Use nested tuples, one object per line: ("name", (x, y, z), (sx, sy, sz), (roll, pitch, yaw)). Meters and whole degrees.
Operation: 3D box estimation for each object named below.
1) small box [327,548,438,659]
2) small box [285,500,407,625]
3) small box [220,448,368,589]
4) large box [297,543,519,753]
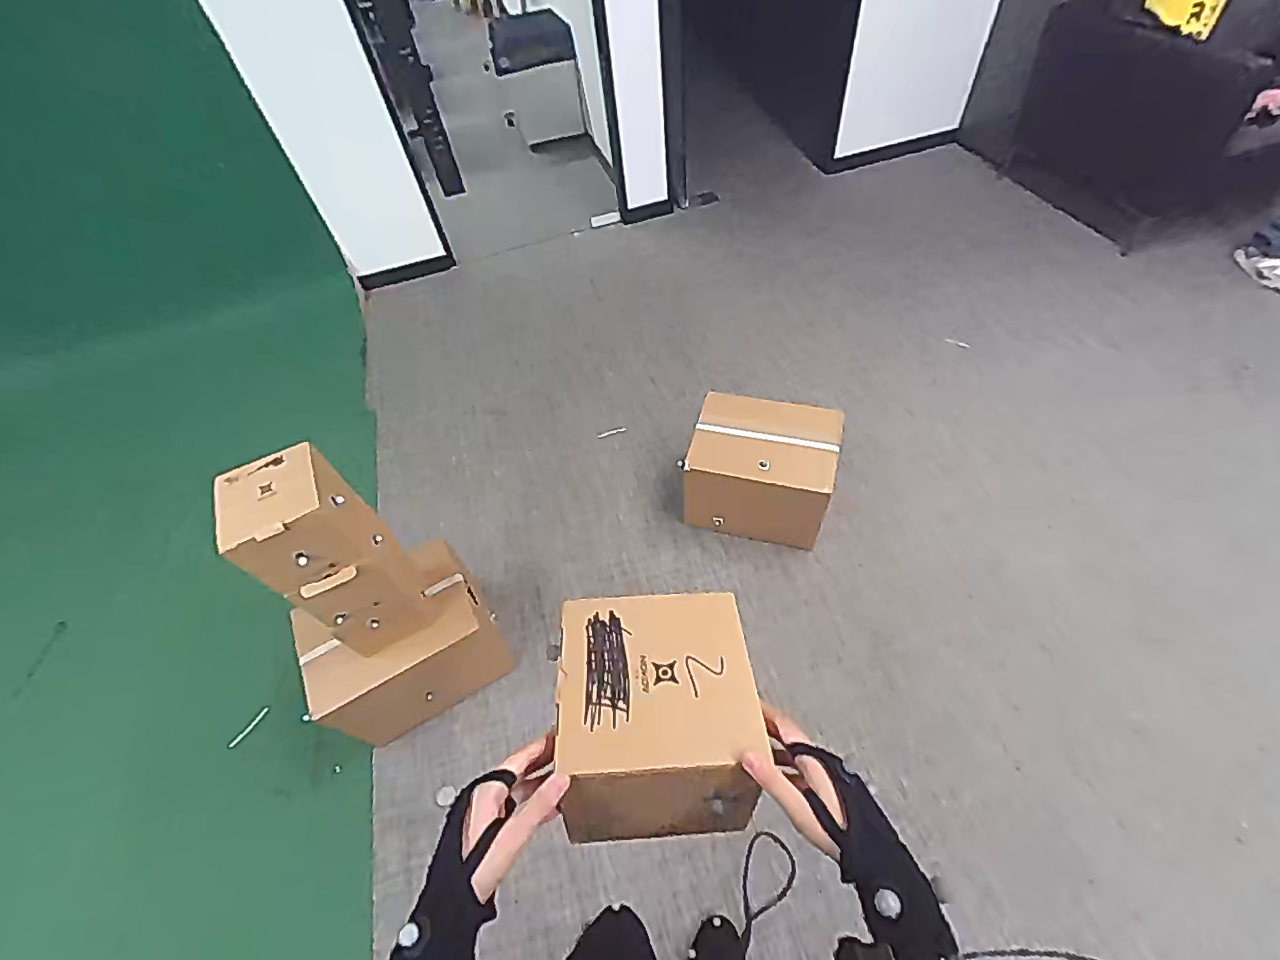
("small box", (-0.597, 0.284, 1.246), (0.179, 0.176, 0.168), (-25, 55, -12))
("small box", (-0.606, 0.179, 1.121), (0.168, 0.176, 0.179), (-24, 55, -11))
("small box", (-0.626, 0.079, 0.992), (0.168, 0.176, 0.179), (-25, 56, -12))
("large box", (-0.596, 0.446, 1.433), (0.408, 0.320, 0.320), (-29, 54, -13))
